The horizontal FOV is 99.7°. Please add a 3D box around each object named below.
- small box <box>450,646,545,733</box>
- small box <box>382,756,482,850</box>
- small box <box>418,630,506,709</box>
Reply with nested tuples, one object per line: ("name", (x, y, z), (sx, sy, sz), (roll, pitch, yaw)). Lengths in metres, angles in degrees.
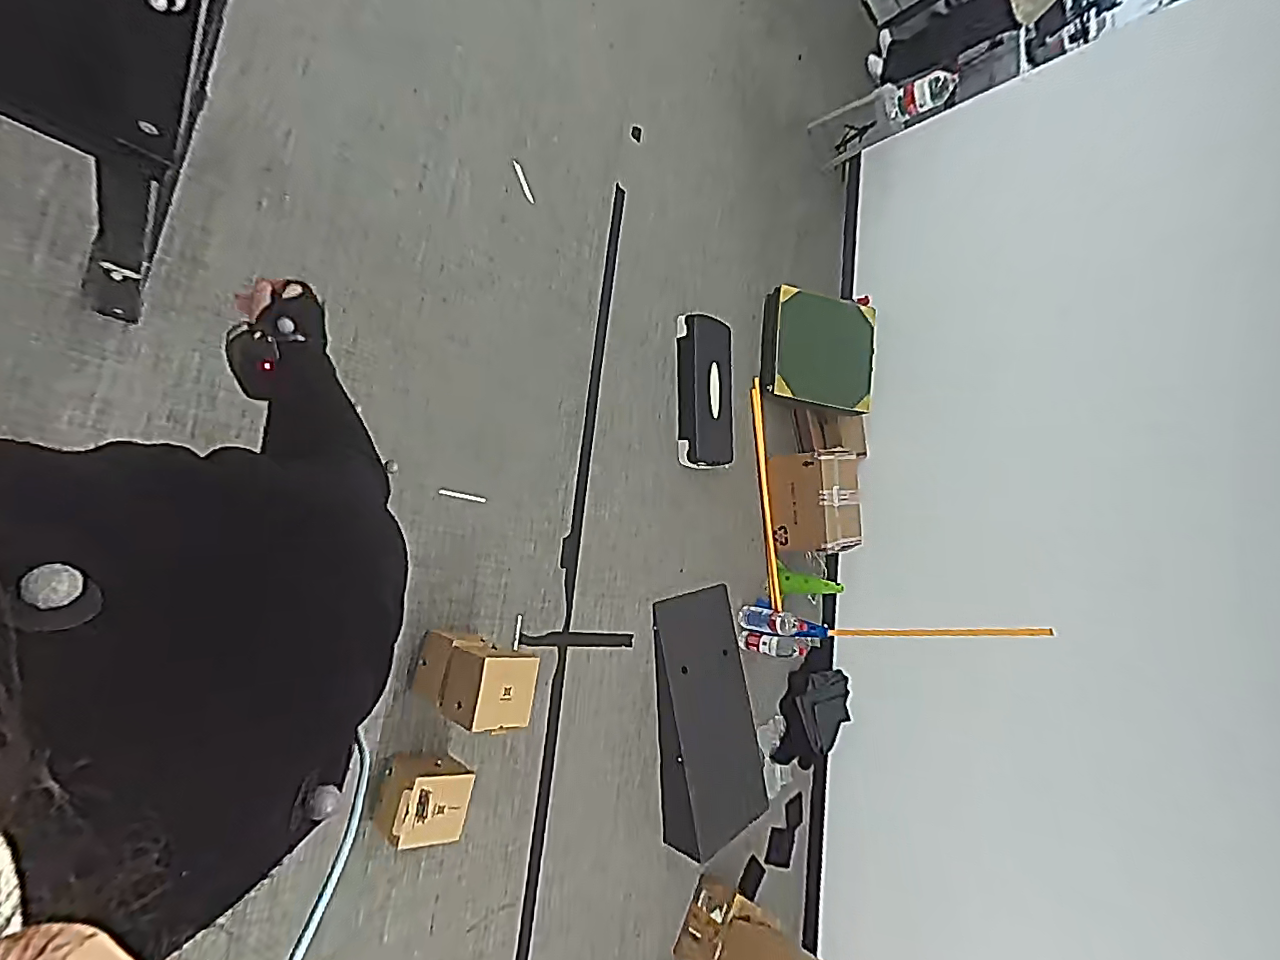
("small box", (-0.375, 0.538, 1.408), (0.168, 0.176, 0.179), (18, 75, -43))
("small box", (-0.558, 0.850, 1.441), (0.179, 0.176, 0.168), (24, 71, -42))
("small box", (-0.498, 0.532, 1.517), (0.168, 0.176, 0.179), (24, 72, -42))
